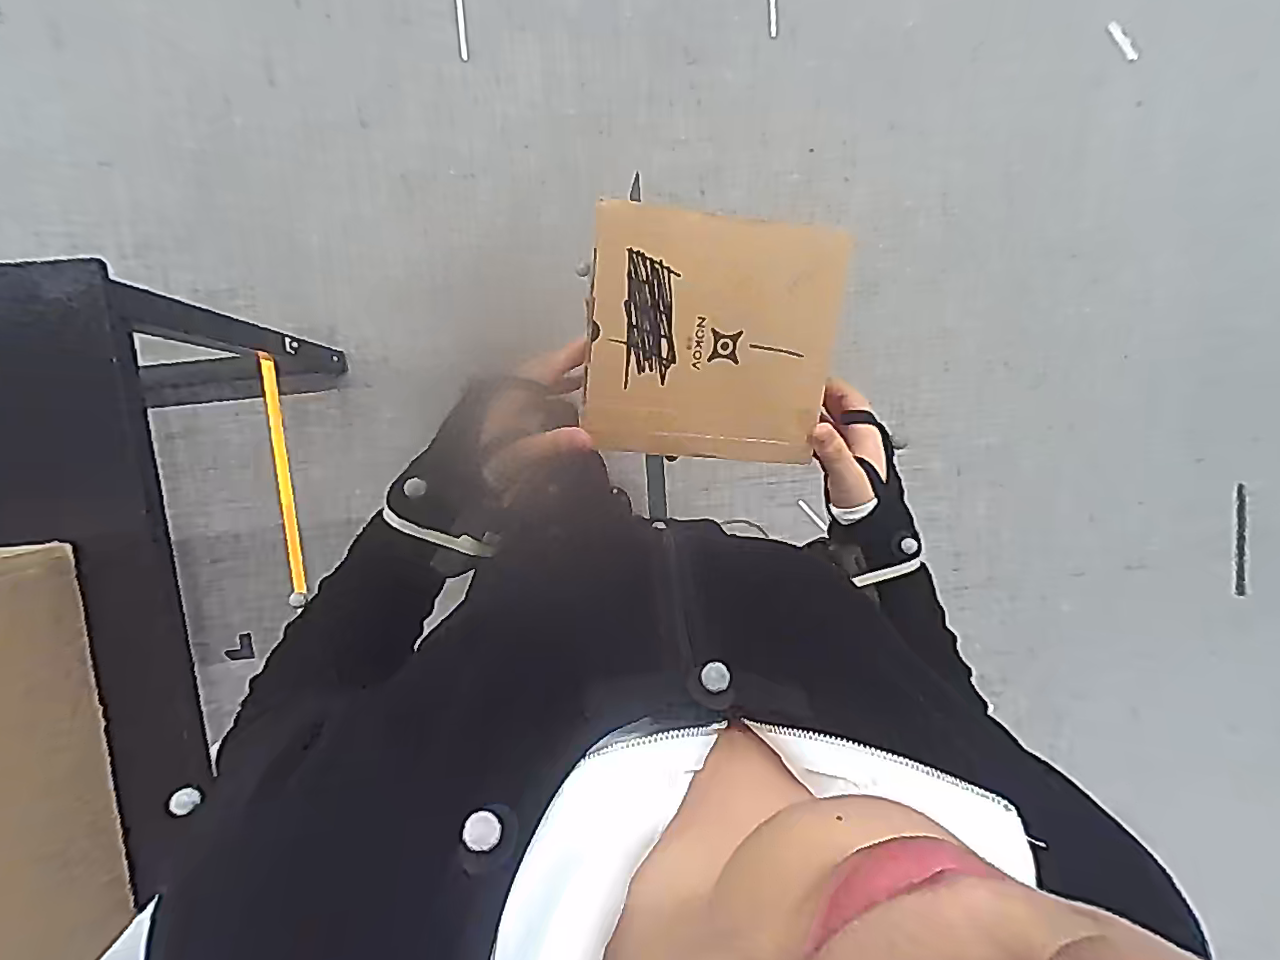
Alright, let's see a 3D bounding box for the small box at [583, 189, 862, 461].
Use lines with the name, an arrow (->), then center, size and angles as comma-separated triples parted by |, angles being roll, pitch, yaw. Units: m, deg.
small box -> 0.047, -0.119, 0.446 | 0.179, 0.176, 0.168 | 4, 105, -7
